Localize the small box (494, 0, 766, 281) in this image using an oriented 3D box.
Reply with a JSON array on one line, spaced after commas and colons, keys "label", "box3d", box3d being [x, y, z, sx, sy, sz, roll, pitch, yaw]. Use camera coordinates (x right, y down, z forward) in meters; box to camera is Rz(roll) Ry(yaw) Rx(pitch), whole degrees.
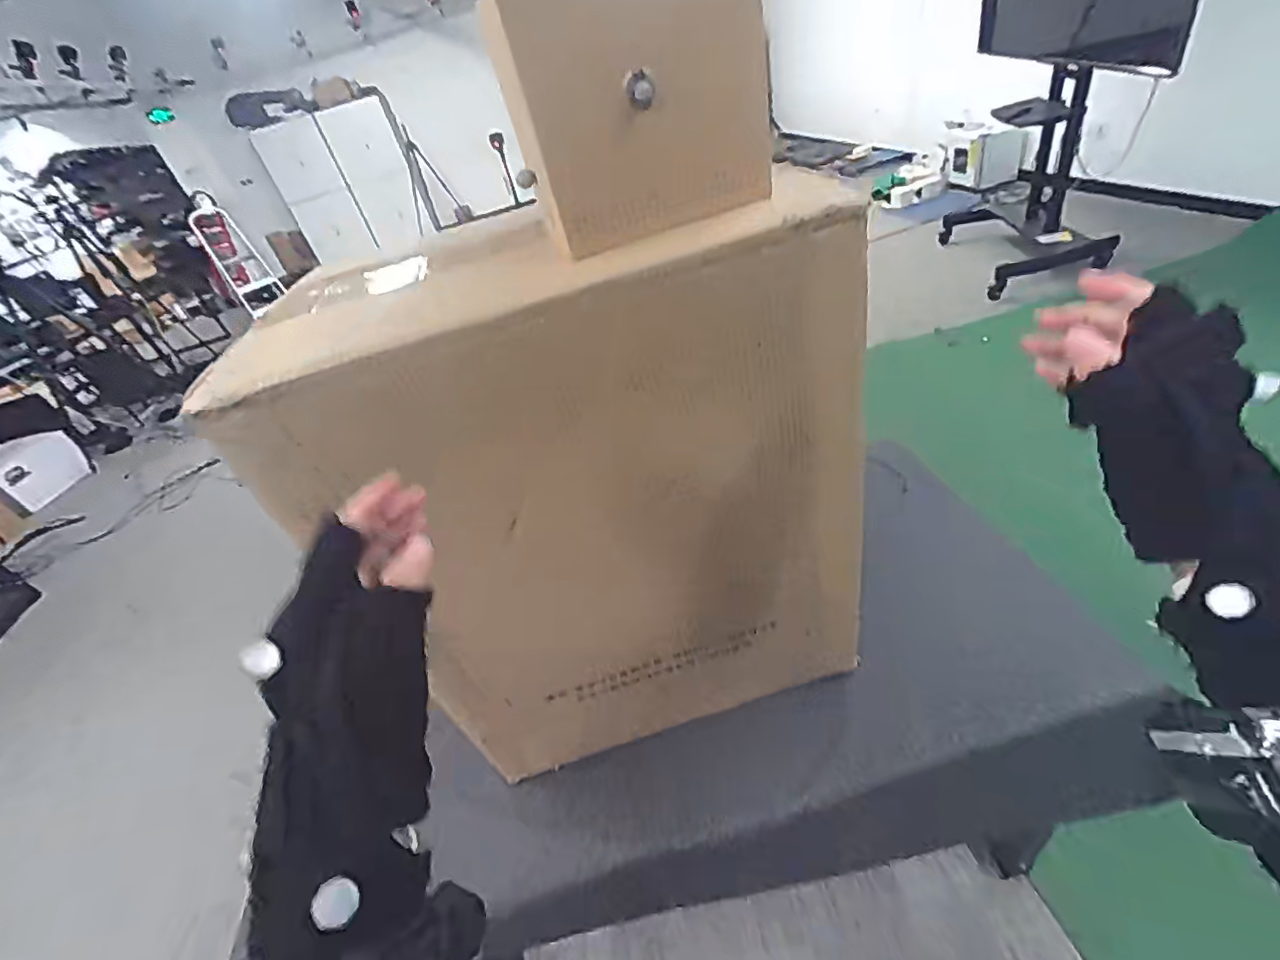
[{"label": "small box", "box3d": [-0.006, -0.292, 0.454, 0.179, 0.176, 0.168, -20, 39, -5]}]
